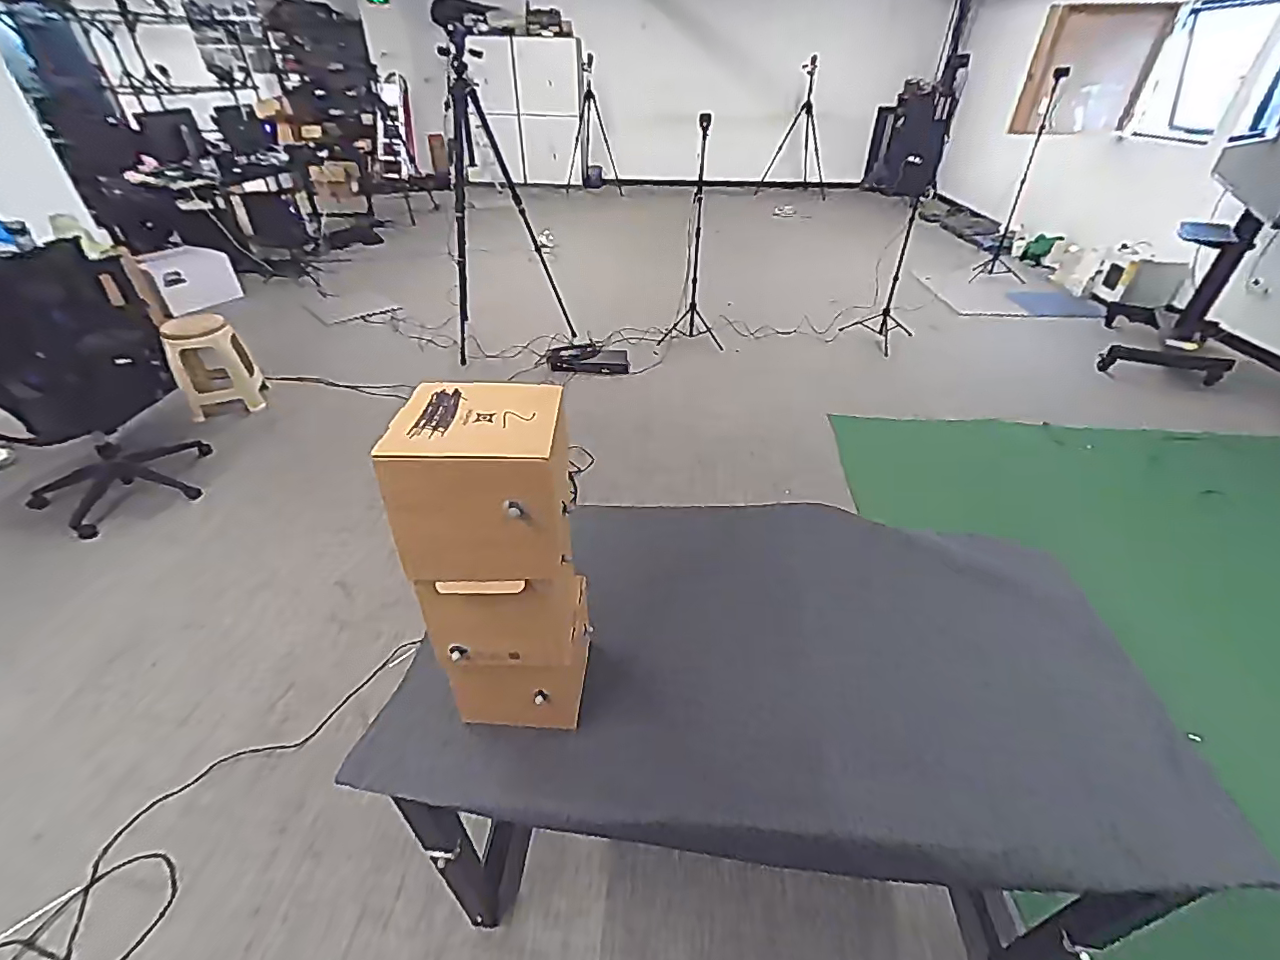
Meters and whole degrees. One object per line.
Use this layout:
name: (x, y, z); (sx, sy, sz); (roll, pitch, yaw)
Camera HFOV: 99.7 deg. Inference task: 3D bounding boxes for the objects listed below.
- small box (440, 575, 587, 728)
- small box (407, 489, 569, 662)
small box: (-0.179, 0.262, 0.834); (0.179, 0.176, 0.168); (1, 35, 3)
small box: (-0.189, 0.130, 0.736); (0.168, 0.176, 0.179); (0, 35, -1)
